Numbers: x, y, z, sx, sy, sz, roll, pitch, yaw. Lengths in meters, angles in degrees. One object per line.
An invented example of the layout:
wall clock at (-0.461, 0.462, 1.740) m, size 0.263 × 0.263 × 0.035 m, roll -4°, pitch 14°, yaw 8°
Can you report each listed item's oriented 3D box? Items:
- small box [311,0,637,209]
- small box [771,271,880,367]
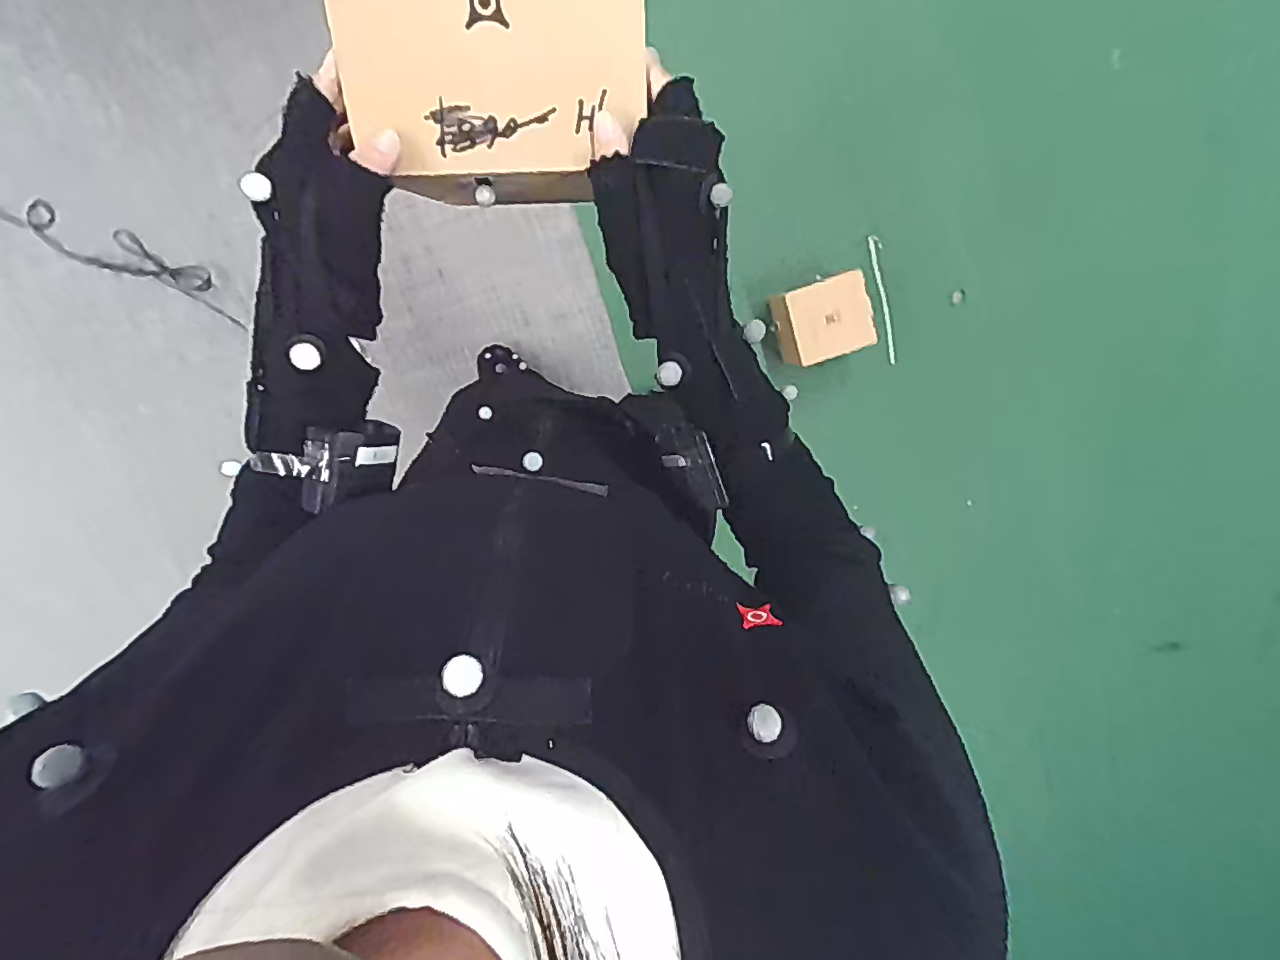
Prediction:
small box at (-0.091, -0.283, 0.349) m, size 0.168 × 0.176 × 0.179 m, roll -4°, pitch 112°, yaw -2°
small box at (0.422, -0.368, 1.250) m, size 0.179 × 0.176 × 0.168 m, roll -16°, pitch 103°, yaw 4°
